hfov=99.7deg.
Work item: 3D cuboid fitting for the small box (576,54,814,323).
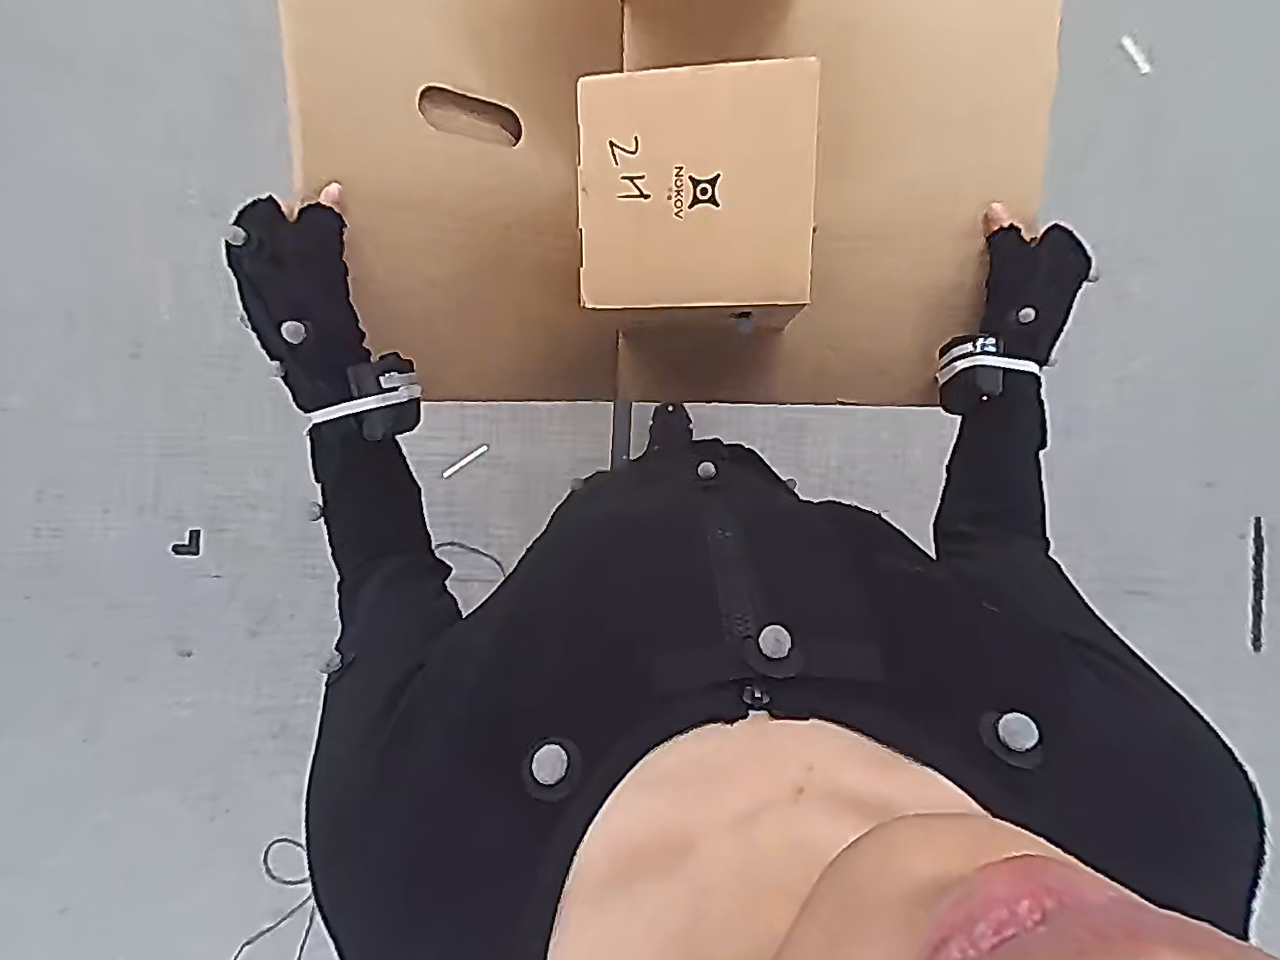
[{"bbox_3d":[0.049,-0.237,0.485,0.179,0.176,0.168,2,99,9],"label":"small box"}]
